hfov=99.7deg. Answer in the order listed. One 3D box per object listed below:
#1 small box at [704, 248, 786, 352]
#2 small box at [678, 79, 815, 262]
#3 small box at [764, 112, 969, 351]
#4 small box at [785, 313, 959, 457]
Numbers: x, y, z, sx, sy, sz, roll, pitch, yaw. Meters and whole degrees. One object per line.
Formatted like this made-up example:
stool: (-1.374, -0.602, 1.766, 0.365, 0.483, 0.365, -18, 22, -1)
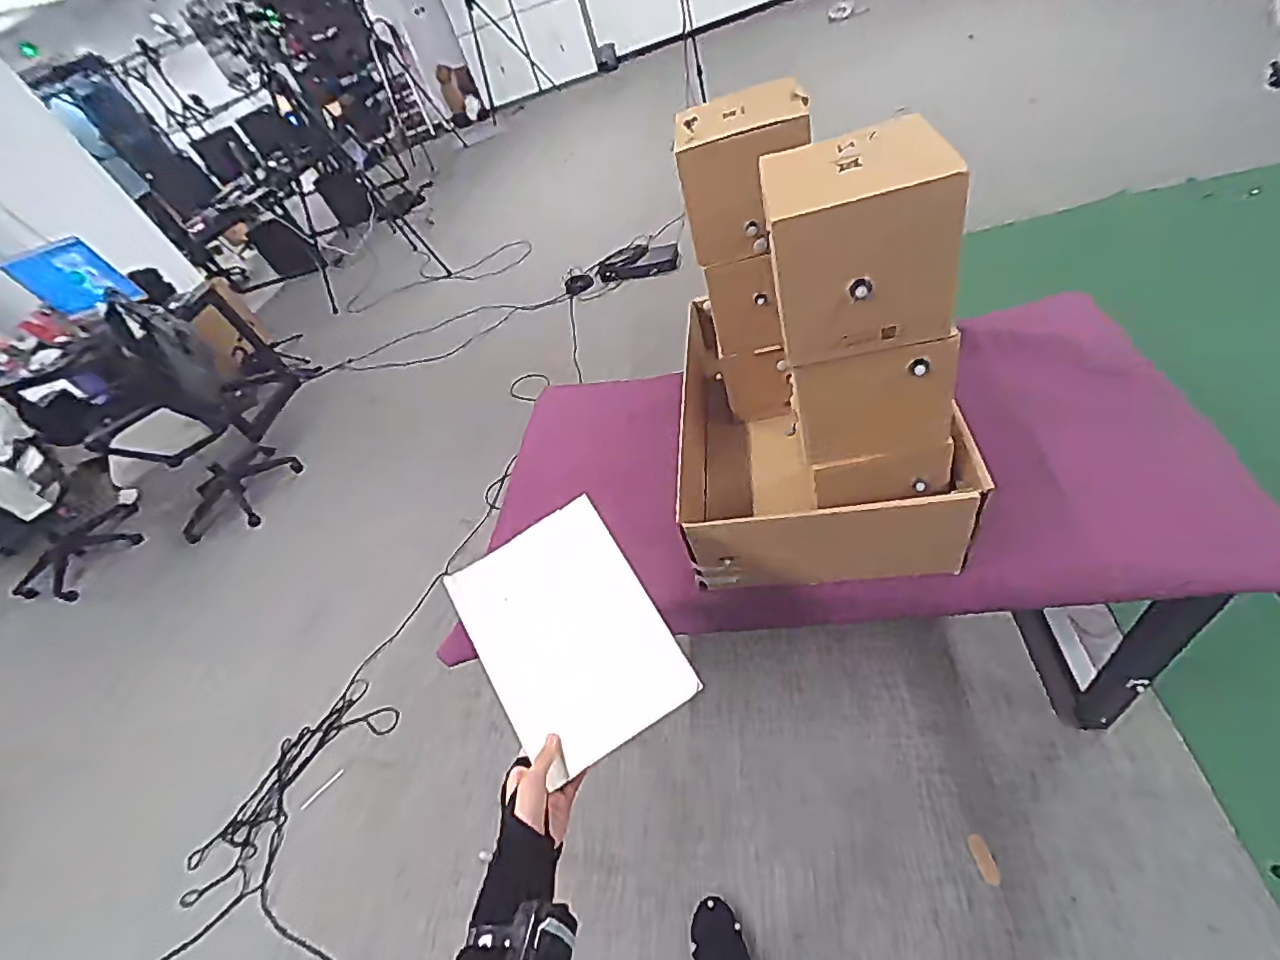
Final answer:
small box: (0.206, -0.343, 0.914, 0.179, 0.176, 0.168, -10, 47, 13)
small box: (0.159, -0.451, 0.800, 0.179, 0.176, 0.168, -7, 48, 14)
small box: (0.231, -0.255, 0.582, 0.168, 0.176, 0.179, -8, 45, 15)
small box: (0.284, -0.146, 0.694, 0.179, 0.176, 0.168, -7, 45, 16)
